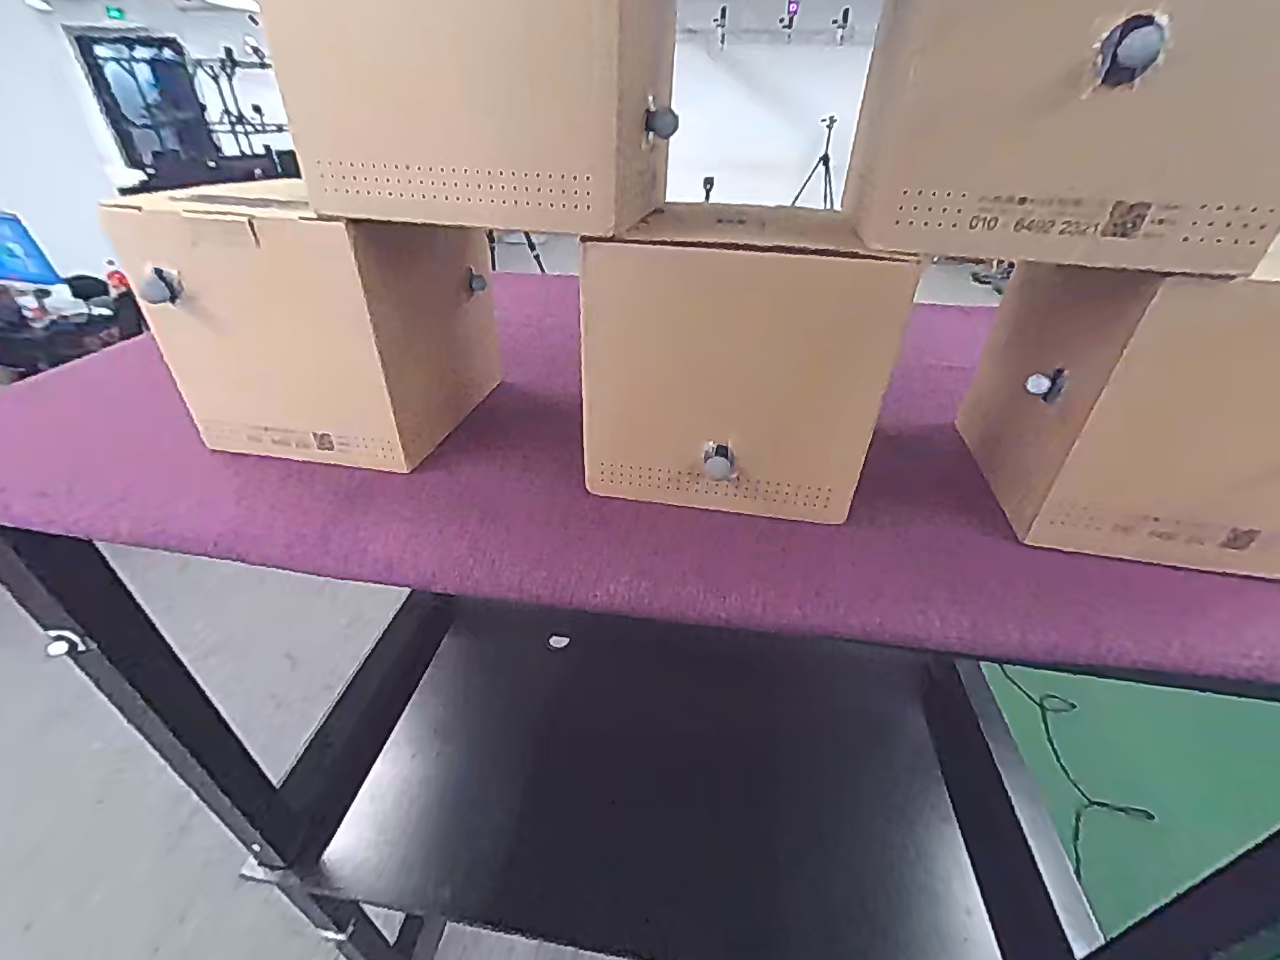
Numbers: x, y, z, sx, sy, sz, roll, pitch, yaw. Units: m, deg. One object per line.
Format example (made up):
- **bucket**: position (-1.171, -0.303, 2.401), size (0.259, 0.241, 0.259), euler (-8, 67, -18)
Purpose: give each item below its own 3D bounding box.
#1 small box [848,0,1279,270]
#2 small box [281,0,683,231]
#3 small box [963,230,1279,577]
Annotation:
- **small box**: position (0.215, -0.214, 0.277), size (0.168, 0.176, 0.179), euler (9, 34, 10)
- **small box**: position (-0.075, -0.245, 0.308), size (0.179, 0.176, 0.168), euler (9, 34, 8)
- **small box**: position (0.340, -0.060, 0.348), size (0.168, 0.176, 0.179), euler (9, 33, 10)
